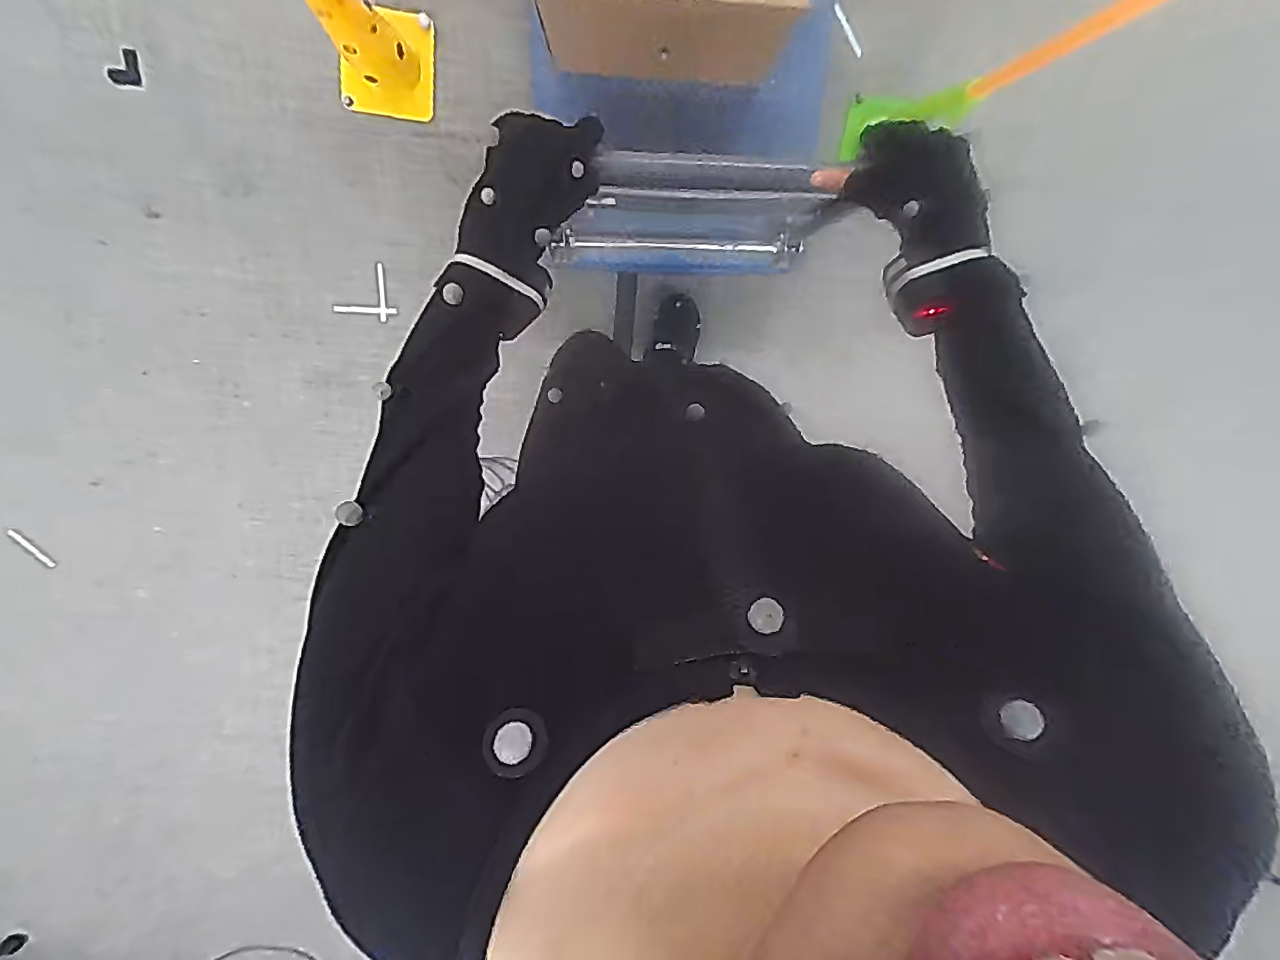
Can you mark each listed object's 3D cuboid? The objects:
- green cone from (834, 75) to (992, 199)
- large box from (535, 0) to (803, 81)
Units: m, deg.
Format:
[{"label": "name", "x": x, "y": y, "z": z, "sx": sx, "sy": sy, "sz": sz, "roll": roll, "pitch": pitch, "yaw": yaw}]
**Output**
[{"label": "green cone", "x": 0.576, "y": -0.727, "z": 1.103, "sx": 0.202, "sy": 0.368, "sz": 0.200, "roll": 7, "pitch": 107, "yaw": -5}, {"label": "large box", "x": 0.046, "y": -0.891, "z": 0.883, "sx": 0.408, "sy": 0.320, "sz": 0.320, "roll": 2, "pitch": 108, "yaw": -2}]
